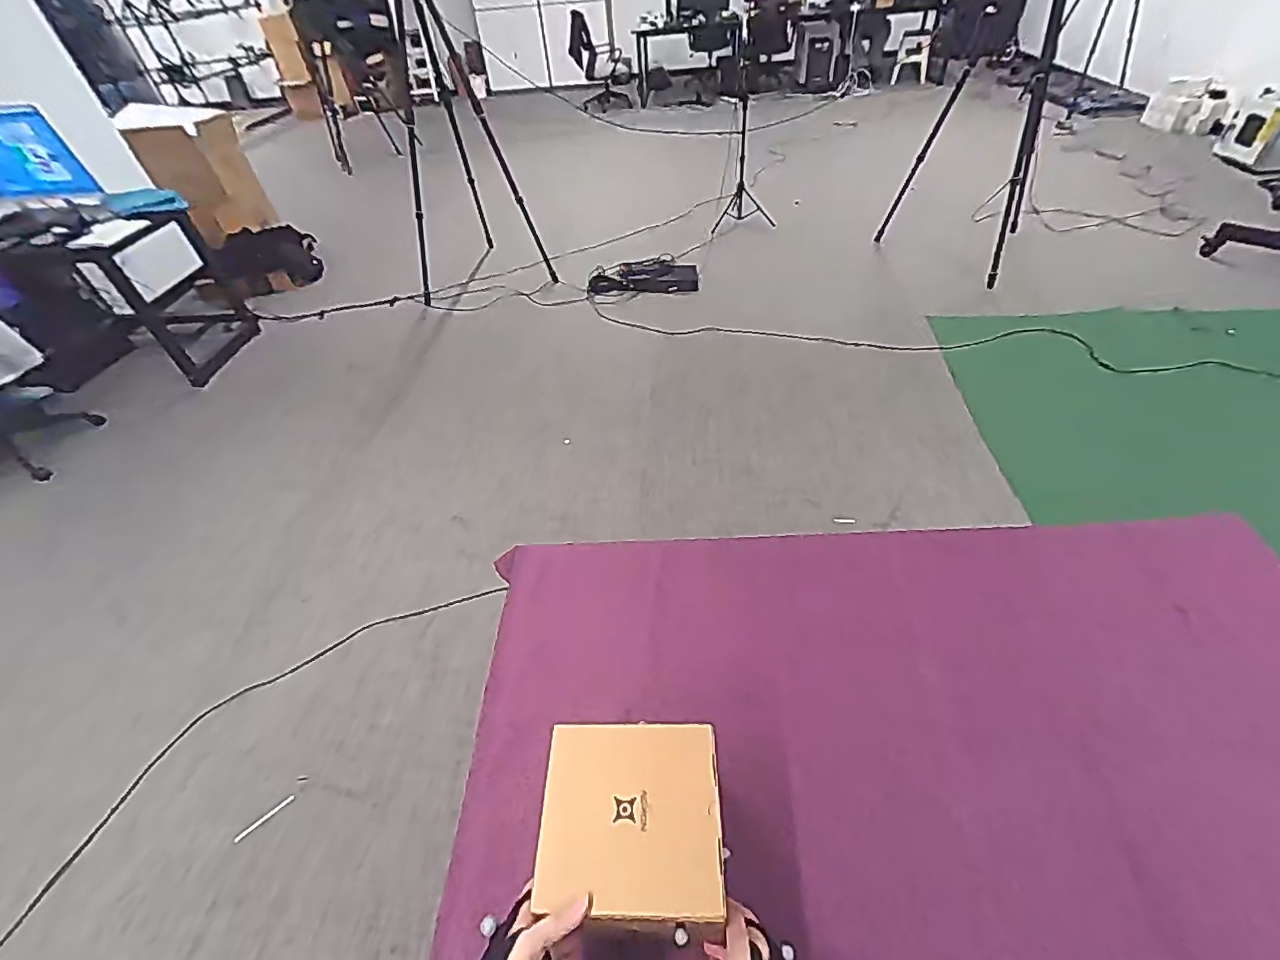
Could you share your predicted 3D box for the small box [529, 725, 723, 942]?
[{"bbox_3d":[-0.006,0.384,0.587,0.179,0.176,0.168,-1,44,3],"label":"small box"}]
